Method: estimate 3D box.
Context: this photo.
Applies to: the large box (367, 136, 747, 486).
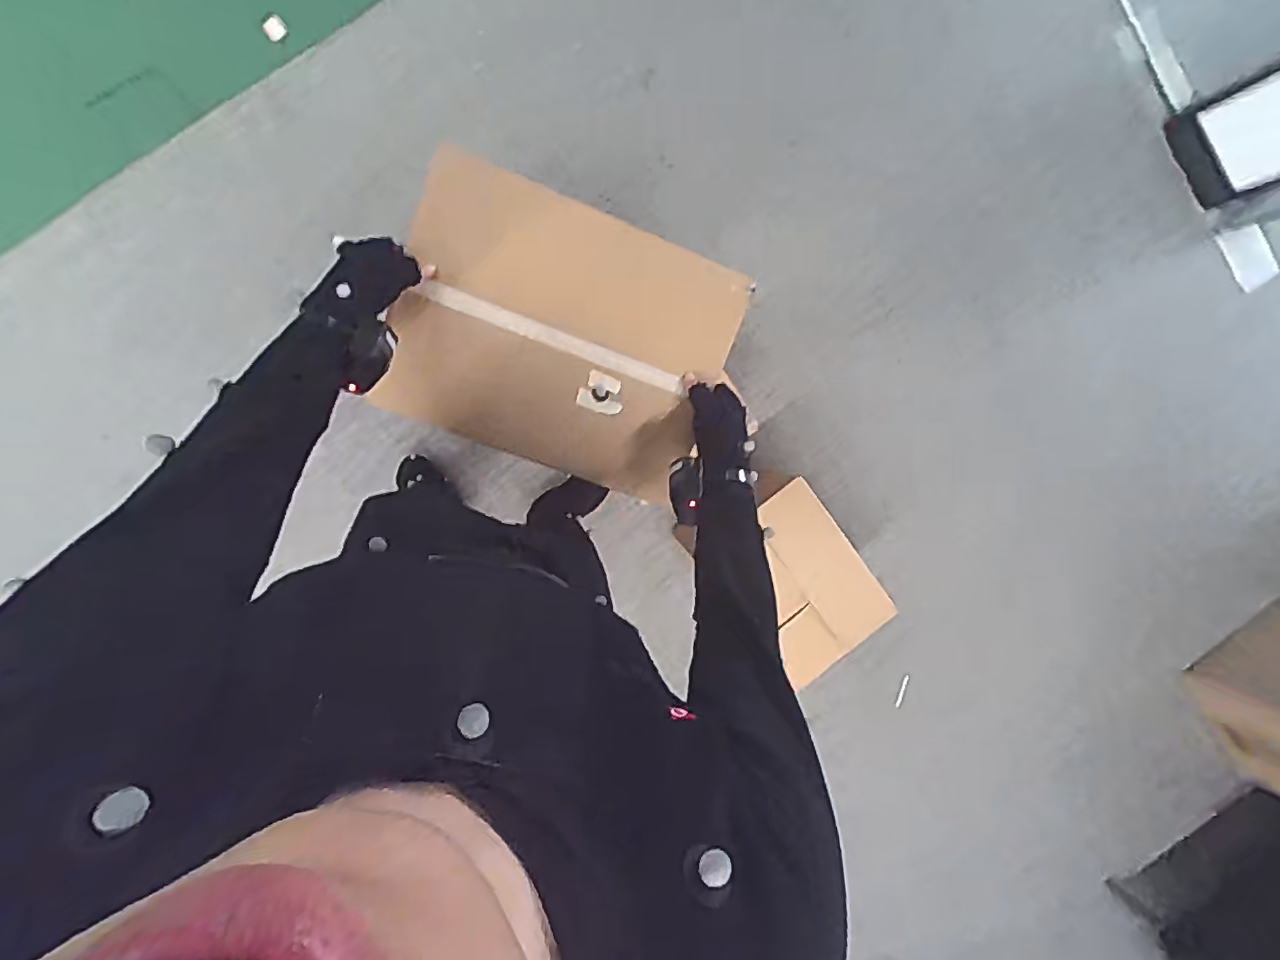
[{"bbox_3d":[-0.119,-0.219,0.809,0.408,0.320,0.320,18,99,-12],"label":"large box"}]
